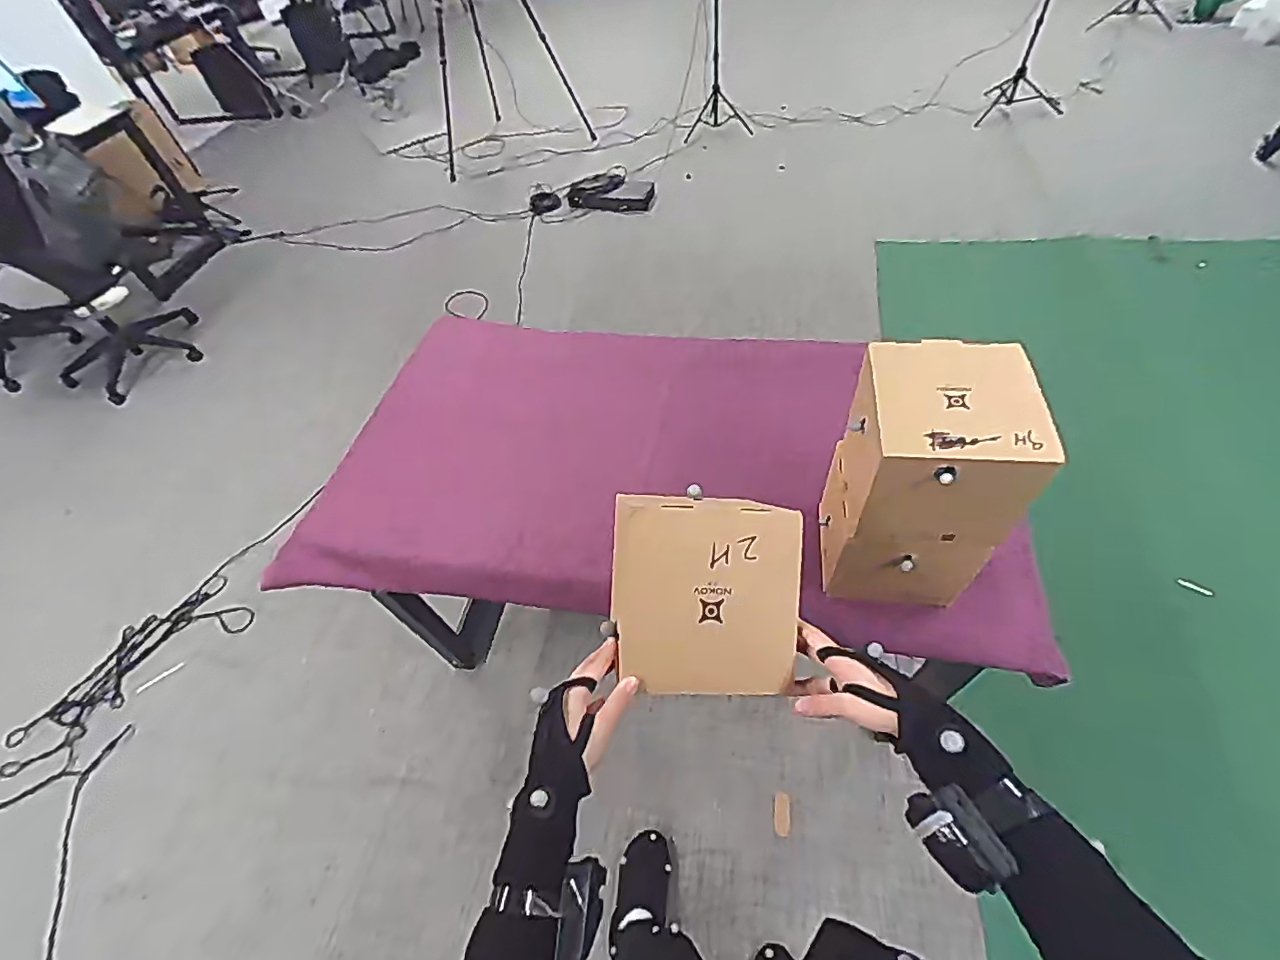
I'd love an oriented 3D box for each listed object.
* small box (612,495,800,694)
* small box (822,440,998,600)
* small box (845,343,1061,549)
[{"bbox_3d":[0.058,0.110,0.581,0.168,0.176,0.179,3,90,-6],"label":"small box"},{"bbox_3d":[0.363,0.060,0.766,0.179,0.176,0.168,1,54,12],"label":"small box"},{"bbox_3d":[0.343,-0.040,0.637,0.168,0.176,0.179,1,53,13],"label":"small box"}]
